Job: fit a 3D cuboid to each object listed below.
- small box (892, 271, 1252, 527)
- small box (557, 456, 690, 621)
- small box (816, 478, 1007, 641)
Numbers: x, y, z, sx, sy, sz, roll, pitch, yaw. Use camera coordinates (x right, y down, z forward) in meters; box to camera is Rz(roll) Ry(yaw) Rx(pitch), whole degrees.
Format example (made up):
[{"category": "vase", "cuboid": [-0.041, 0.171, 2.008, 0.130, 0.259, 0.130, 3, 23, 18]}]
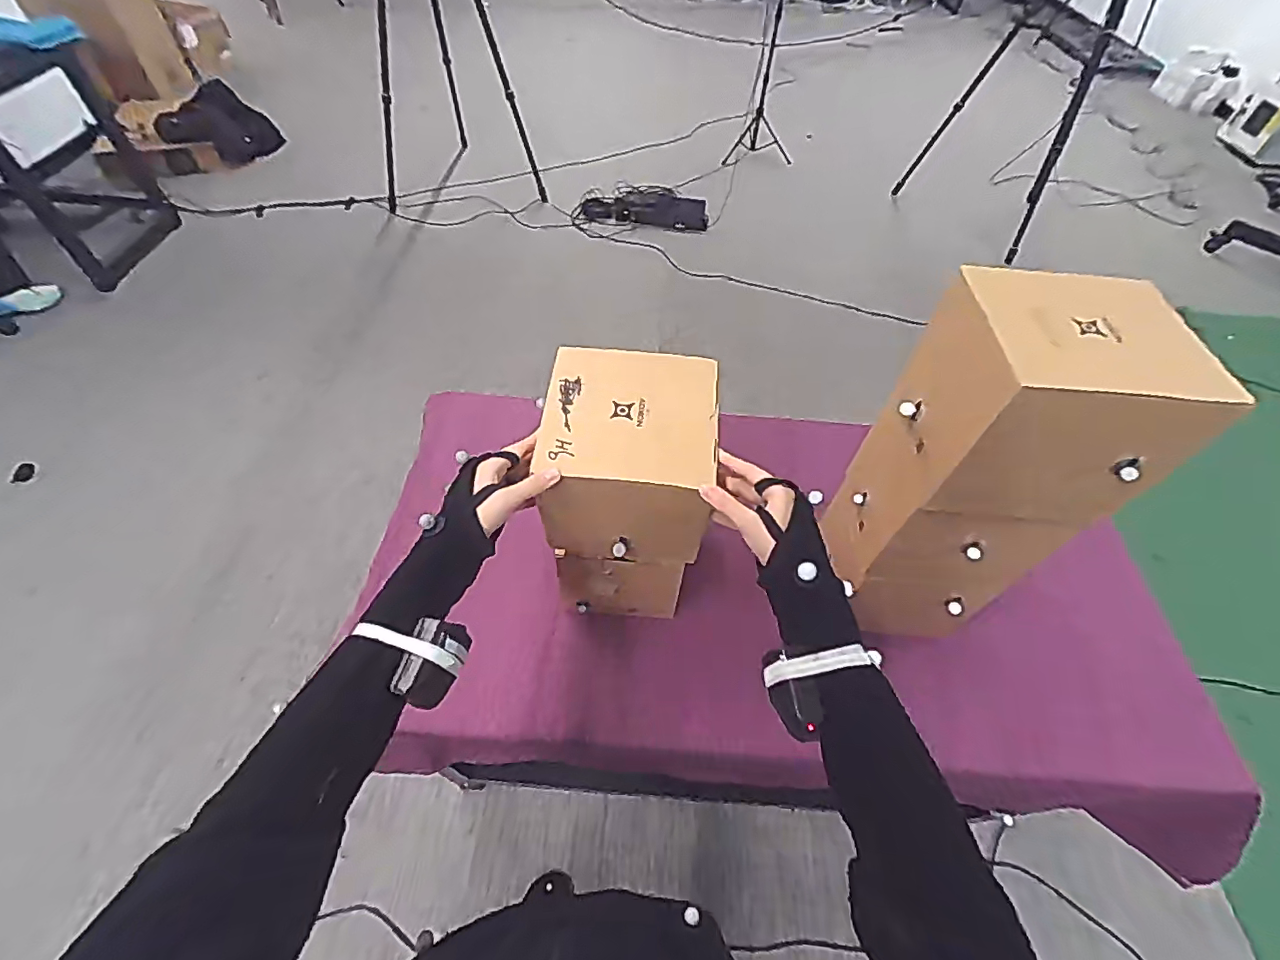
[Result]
[{"category": "small box", "cuboid": [0.372, -0.071, 0.512, 0.179, 0.176, 0.168, 5, 52, 1]}, {"category": "small box", "cuboid": [-0.019, 0.089, 0.784, 0.168, 0.176, 0.179, 5, 52, 0]}, {"category": "small box", "cuboid": [0.373, 0.120, 0.780, 0.179, 0.176, 0.168, 6, 52, 1]}]
